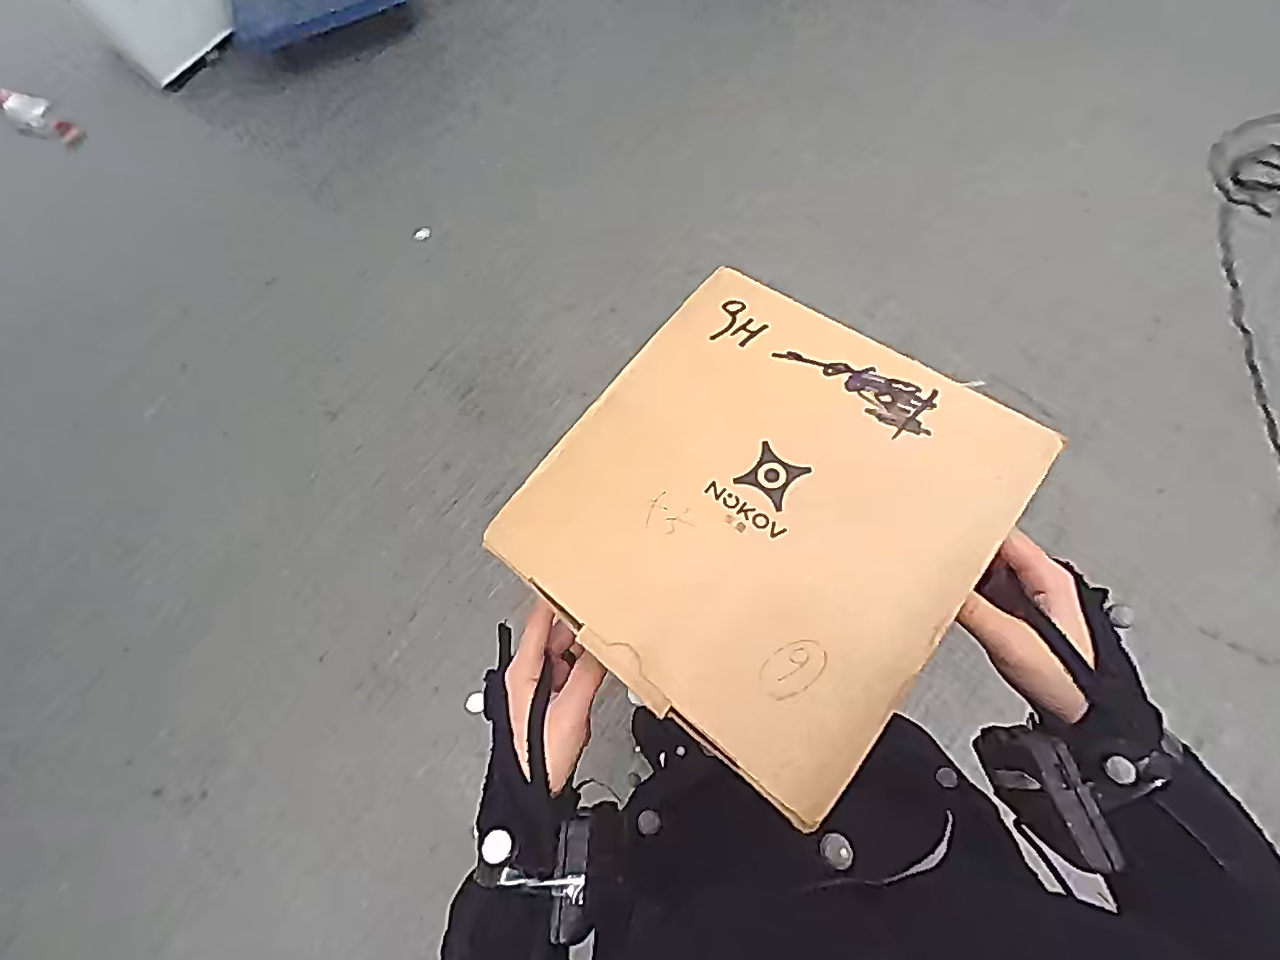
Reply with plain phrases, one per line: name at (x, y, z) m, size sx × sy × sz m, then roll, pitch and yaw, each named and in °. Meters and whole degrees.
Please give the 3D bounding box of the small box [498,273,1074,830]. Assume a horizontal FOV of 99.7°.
small box at (0.066, 0.036, 0.292) m, size 0.168 × 0.176 × 0.179 m, roll 37°, pitch 80°, yaw 21°
